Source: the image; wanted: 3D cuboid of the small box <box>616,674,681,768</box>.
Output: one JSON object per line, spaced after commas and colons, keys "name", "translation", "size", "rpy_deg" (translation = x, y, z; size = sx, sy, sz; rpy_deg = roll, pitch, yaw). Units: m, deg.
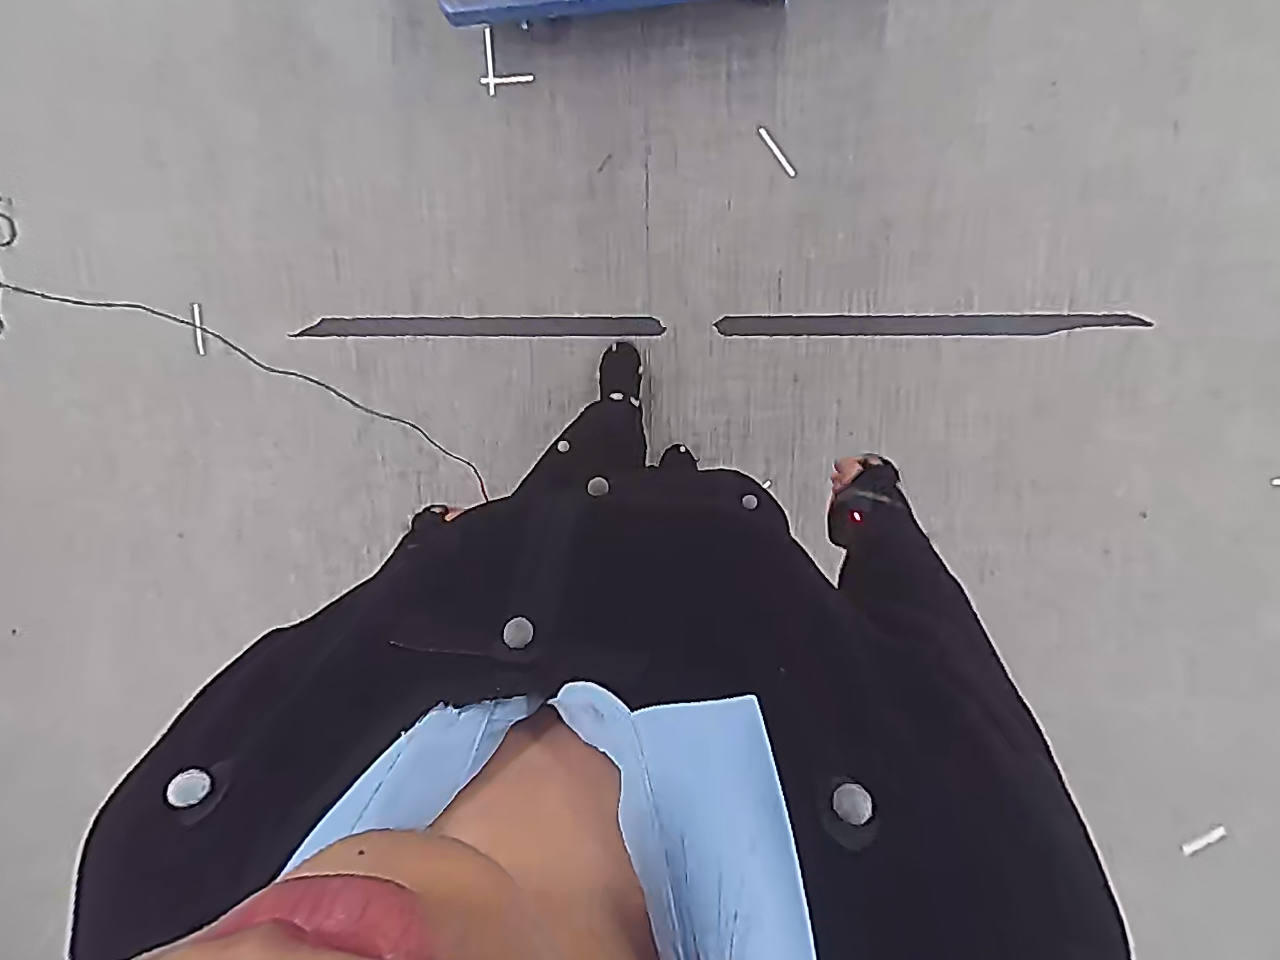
{"name": "small box", "translation": [0.029, 0.661, 1.492], "size": [0.168, 0.176, 0.179], "rpy_deg": [-2, 98, 5]}
